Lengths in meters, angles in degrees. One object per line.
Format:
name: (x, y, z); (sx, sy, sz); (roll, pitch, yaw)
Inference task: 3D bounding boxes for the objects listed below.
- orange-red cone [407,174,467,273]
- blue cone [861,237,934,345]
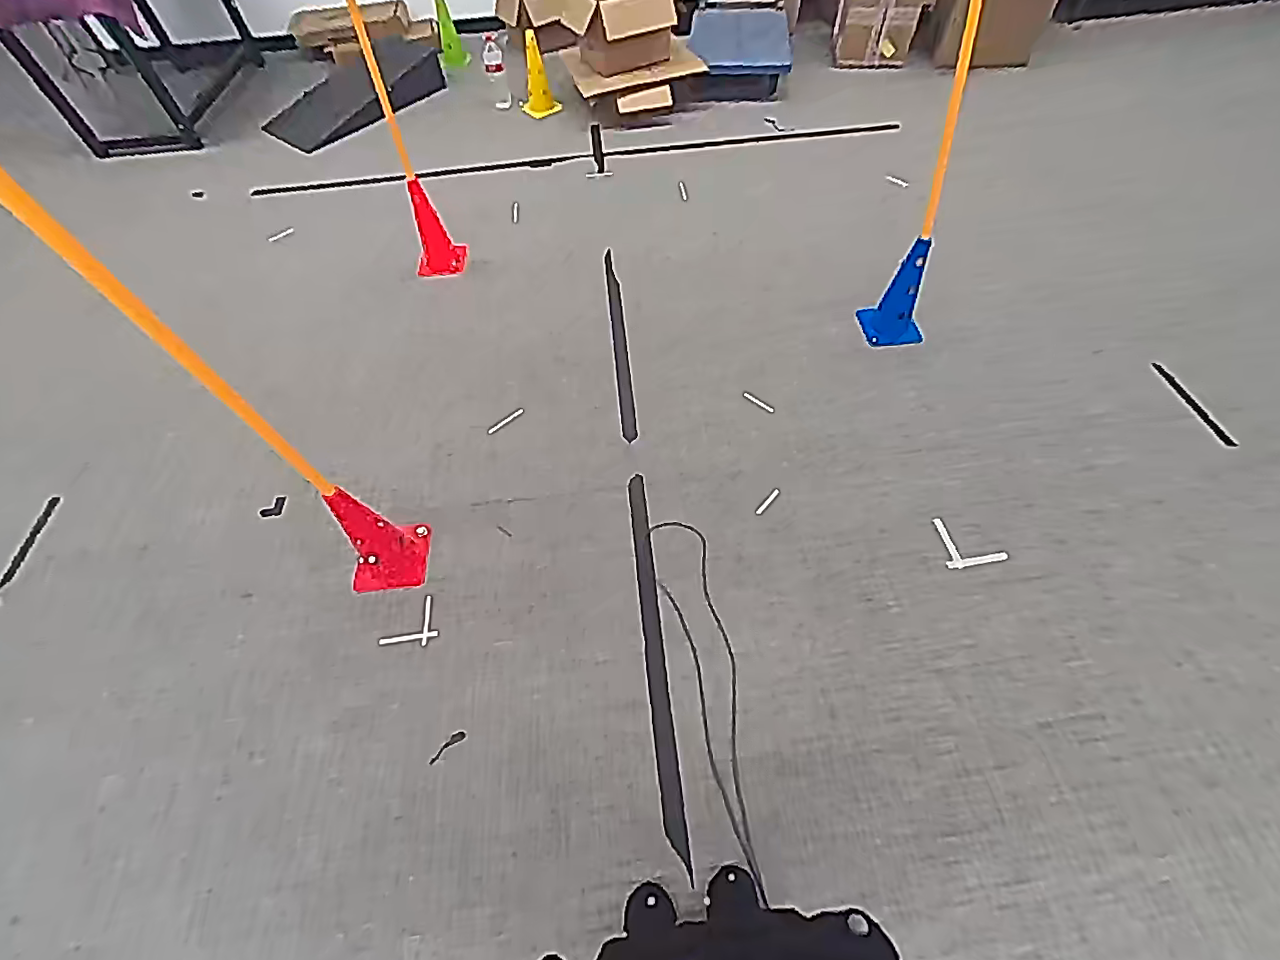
orange-red cone: (-0.858, -1.048, 2.185); (0.198, 0.360, 0.199); (-3, 56, 0)
blue cone: (0.921, -0.663, 1.869); (0.193, 0.380, 0.192); (-4, 57, 1)
